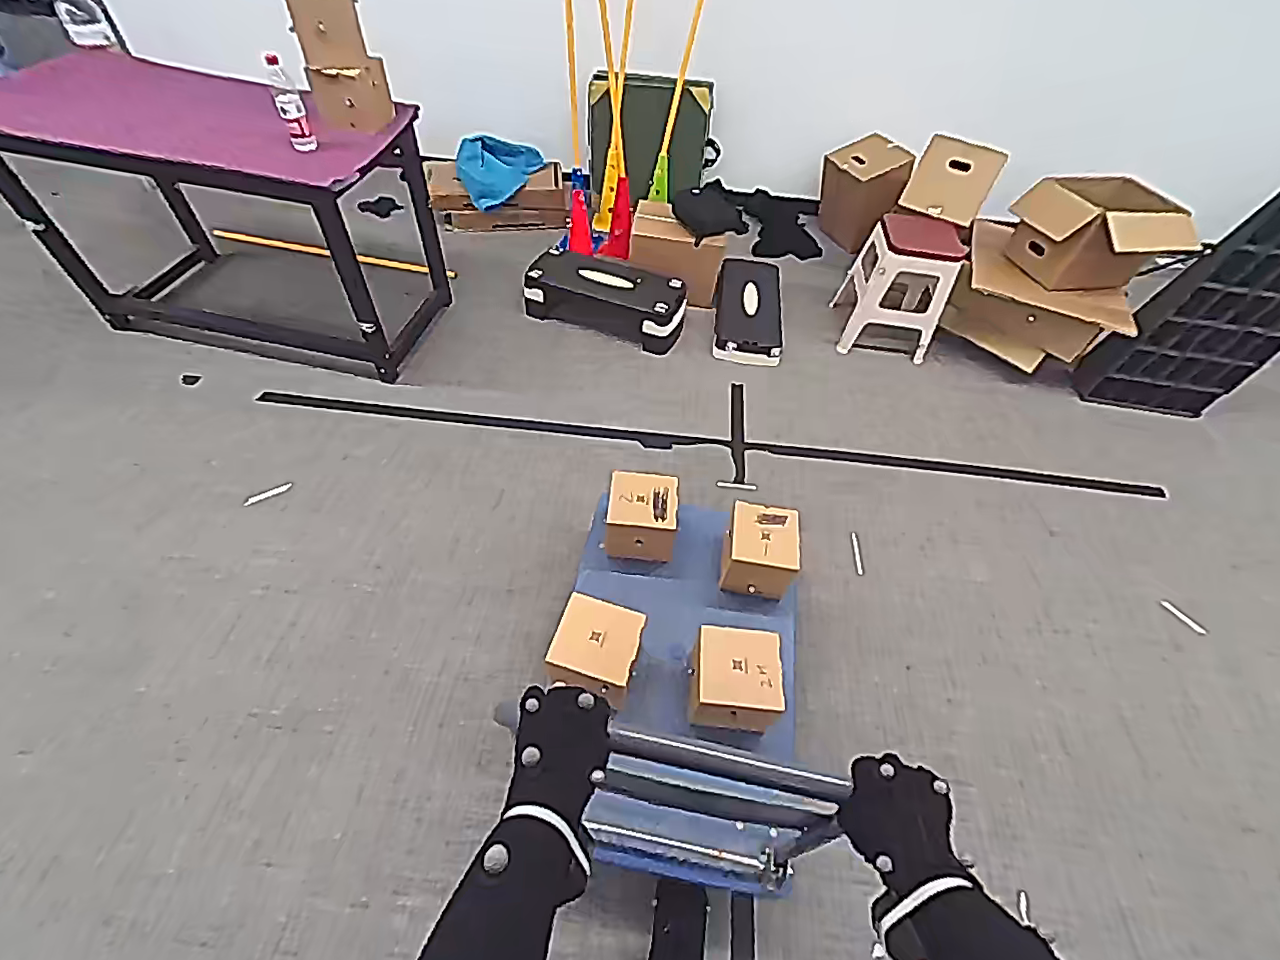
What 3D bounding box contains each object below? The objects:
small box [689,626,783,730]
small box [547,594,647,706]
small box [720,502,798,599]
[{"bbox_3d":[0.206,0.442,1.198,0.179,0.176,0.168,6,52,0],"label":"small box"},{"bbox_3d":[-0.096,0.387,1.214,0.179,0.176,0.168,16,52,5],"label":"small box"},{"bbox_3d":[0.306,0.186,1.408,0.168,0.176,0.179,9,53,3],"label":"small box"}]
